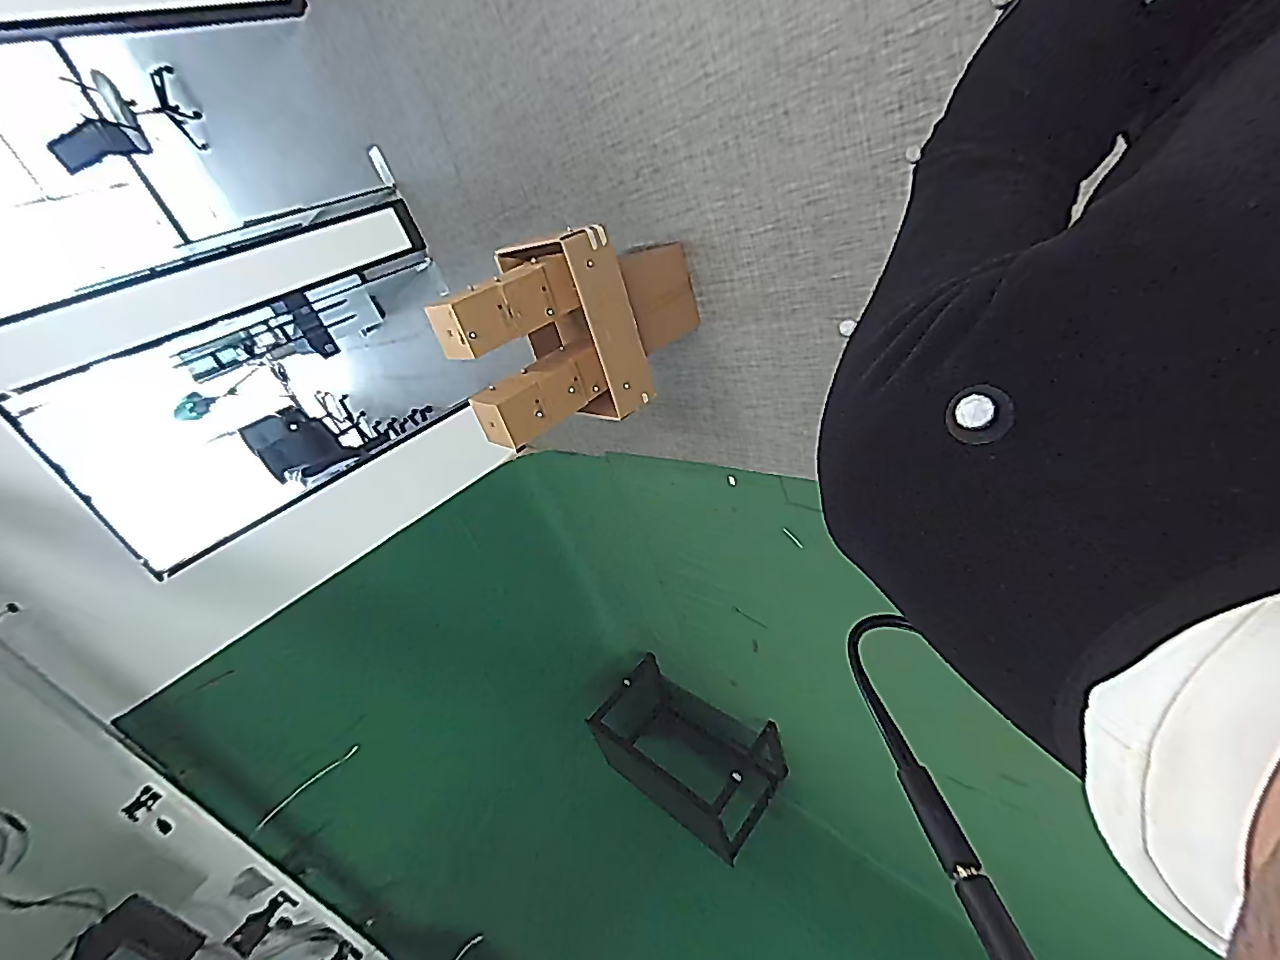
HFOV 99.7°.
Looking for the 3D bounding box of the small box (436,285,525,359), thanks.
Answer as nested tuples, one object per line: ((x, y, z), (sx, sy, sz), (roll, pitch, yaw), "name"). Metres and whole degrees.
((-0.482, -0.481, 1.648), (0.179, 0.176, 0.168), (13, 132, 45), "small box")

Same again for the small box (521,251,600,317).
((-0.265, -0.659, 1.819), (0.179, 0.176, 0.168), (14, 133, 44), "small box")

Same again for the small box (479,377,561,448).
((-0.395, -0.229, 1.796), (0.179, 0.176, 0.168), (17, 136, 43), "small box")

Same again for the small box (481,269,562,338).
((-0.369, -0.567, 1.730), (0.179, 0.176, 0.168), (17, 134, 43), "small box")

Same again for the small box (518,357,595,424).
((-0.287, -0.316, 1.881), (0.179, 0.176, 0.168), (17, 136, 43), "small box")
